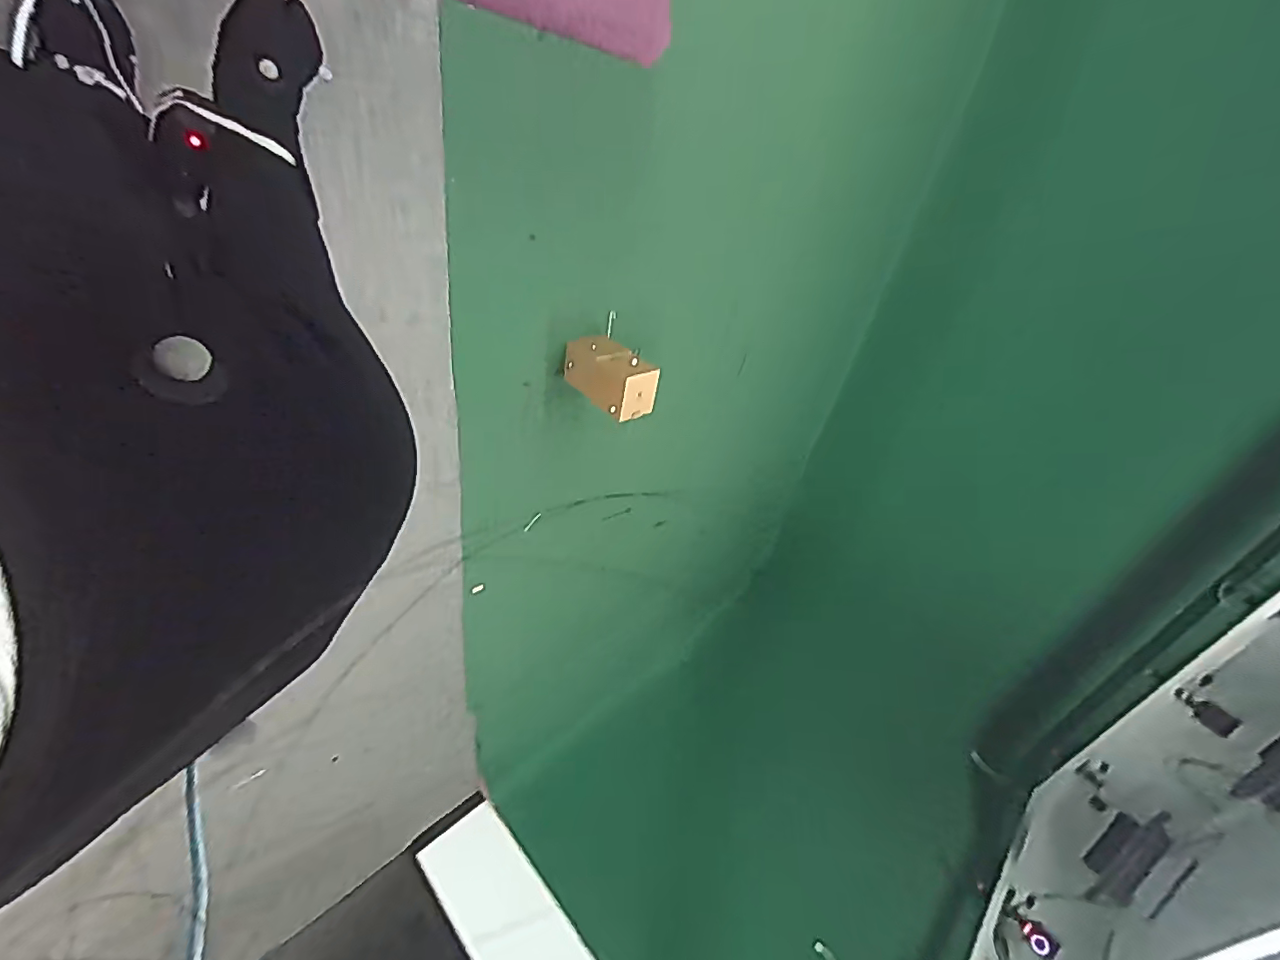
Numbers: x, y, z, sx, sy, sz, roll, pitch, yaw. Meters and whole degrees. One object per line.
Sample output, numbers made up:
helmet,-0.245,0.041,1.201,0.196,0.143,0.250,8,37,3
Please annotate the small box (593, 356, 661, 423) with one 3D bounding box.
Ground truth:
small box,-0.052,-0.334,1.945,0.168,0.176,0.179,-23,138,-39
